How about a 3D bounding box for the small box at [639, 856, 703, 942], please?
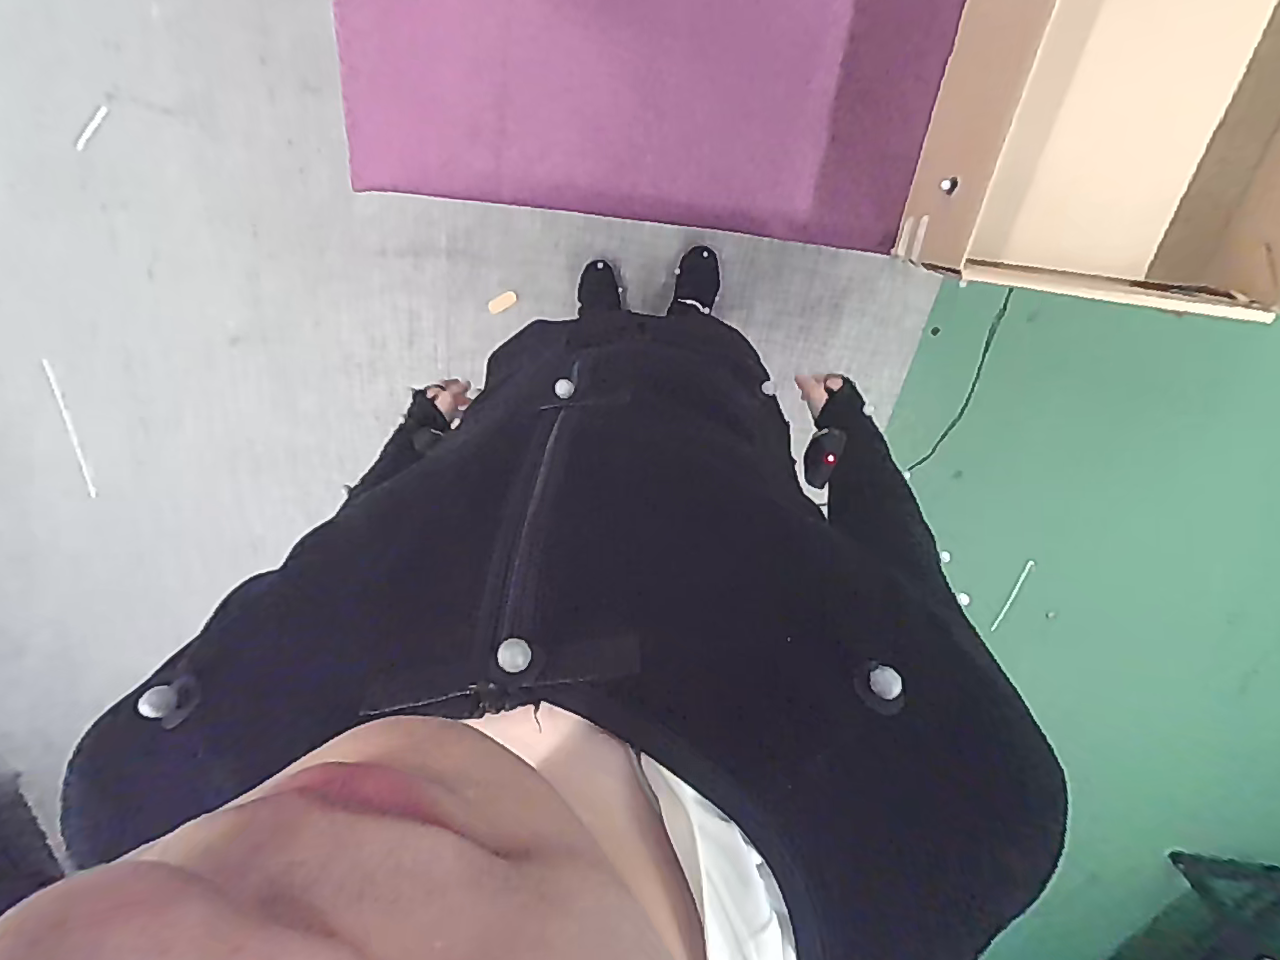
[{"bbox_3d":[0.101,1.392,1.804,0.179,0.176,0.168,-15,115,8],"label":"small box"}]
